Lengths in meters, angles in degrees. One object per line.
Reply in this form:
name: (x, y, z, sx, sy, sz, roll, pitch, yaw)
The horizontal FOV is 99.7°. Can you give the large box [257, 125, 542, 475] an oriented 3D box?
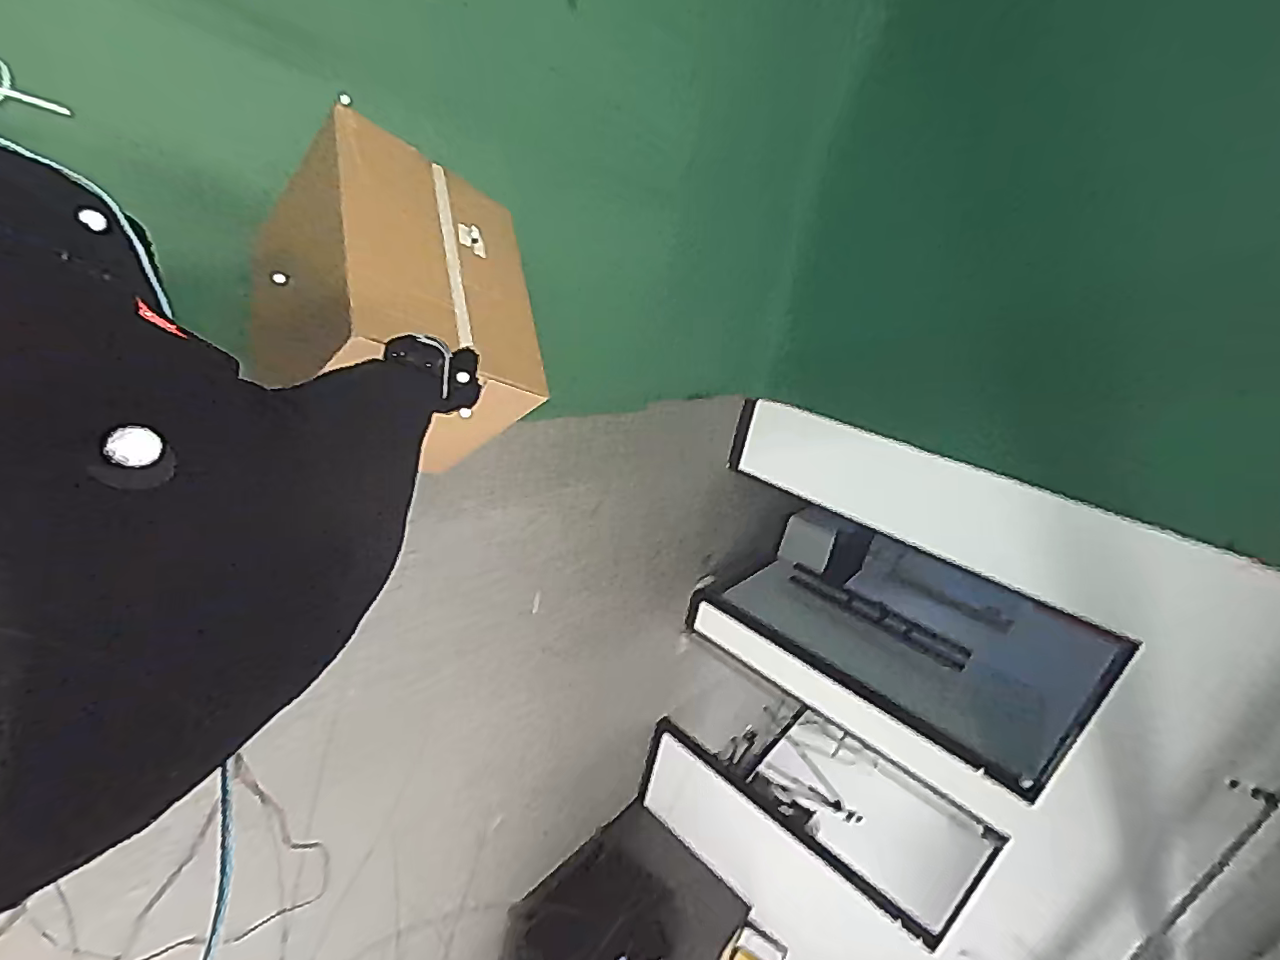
large box: (-0.414, -0.258, 0.912, 0.320, 0.408, 0.320, -28, 157, 31)
